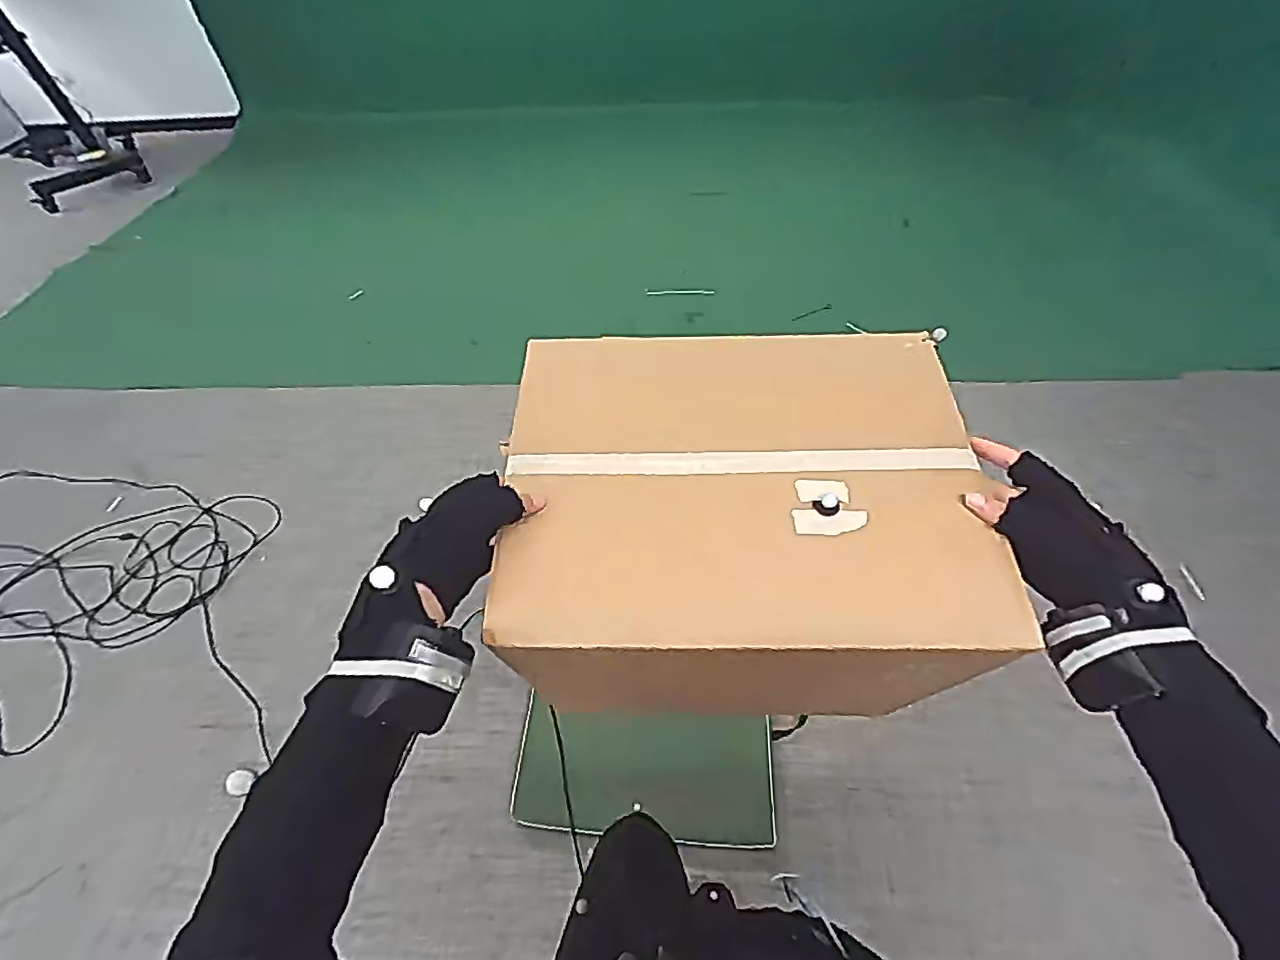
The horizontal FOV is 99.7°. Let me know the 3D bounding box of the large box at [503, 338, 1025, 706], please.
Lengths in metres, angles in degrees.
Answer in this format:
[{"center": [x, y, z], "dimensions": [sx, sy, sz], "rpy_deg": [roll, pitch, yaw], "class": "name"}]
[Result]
[{"center": [0.093, 0.063, 0.609], "dimensions": [0.408, 0.320, 0.320], "rpy_deg": [0, 59, 1], "class": "large box"}]
